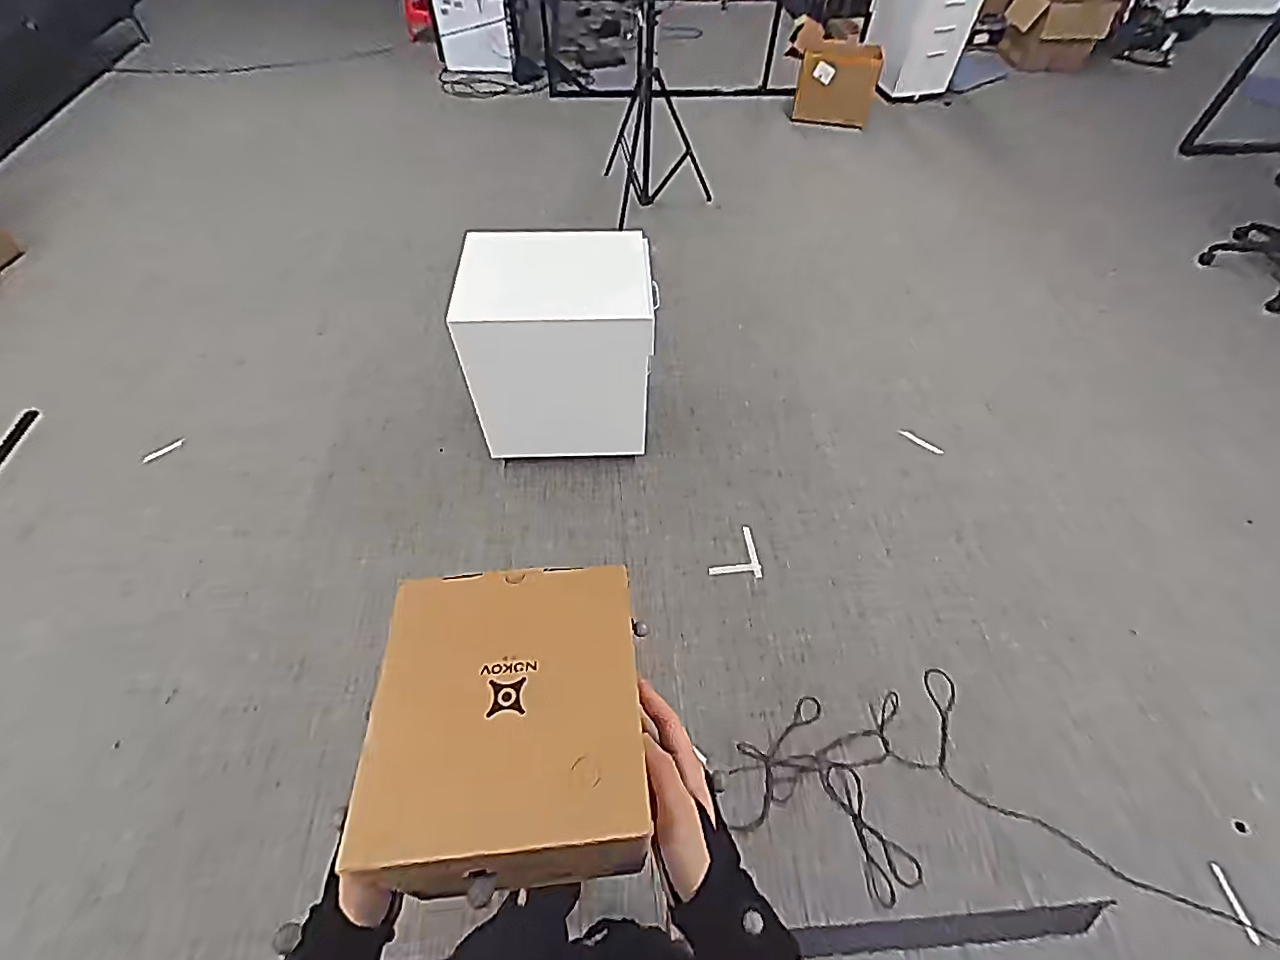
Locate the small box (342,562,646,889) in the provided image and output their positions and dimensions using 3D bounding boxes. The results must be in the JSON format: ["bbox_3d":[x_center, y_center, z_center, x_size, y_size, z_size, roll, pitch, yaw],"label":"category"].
[{"bbox_3d":[-0.085,0.184,0.400,0.168,0.176,0.179,-4,48,-5],"label":"small box"}]
